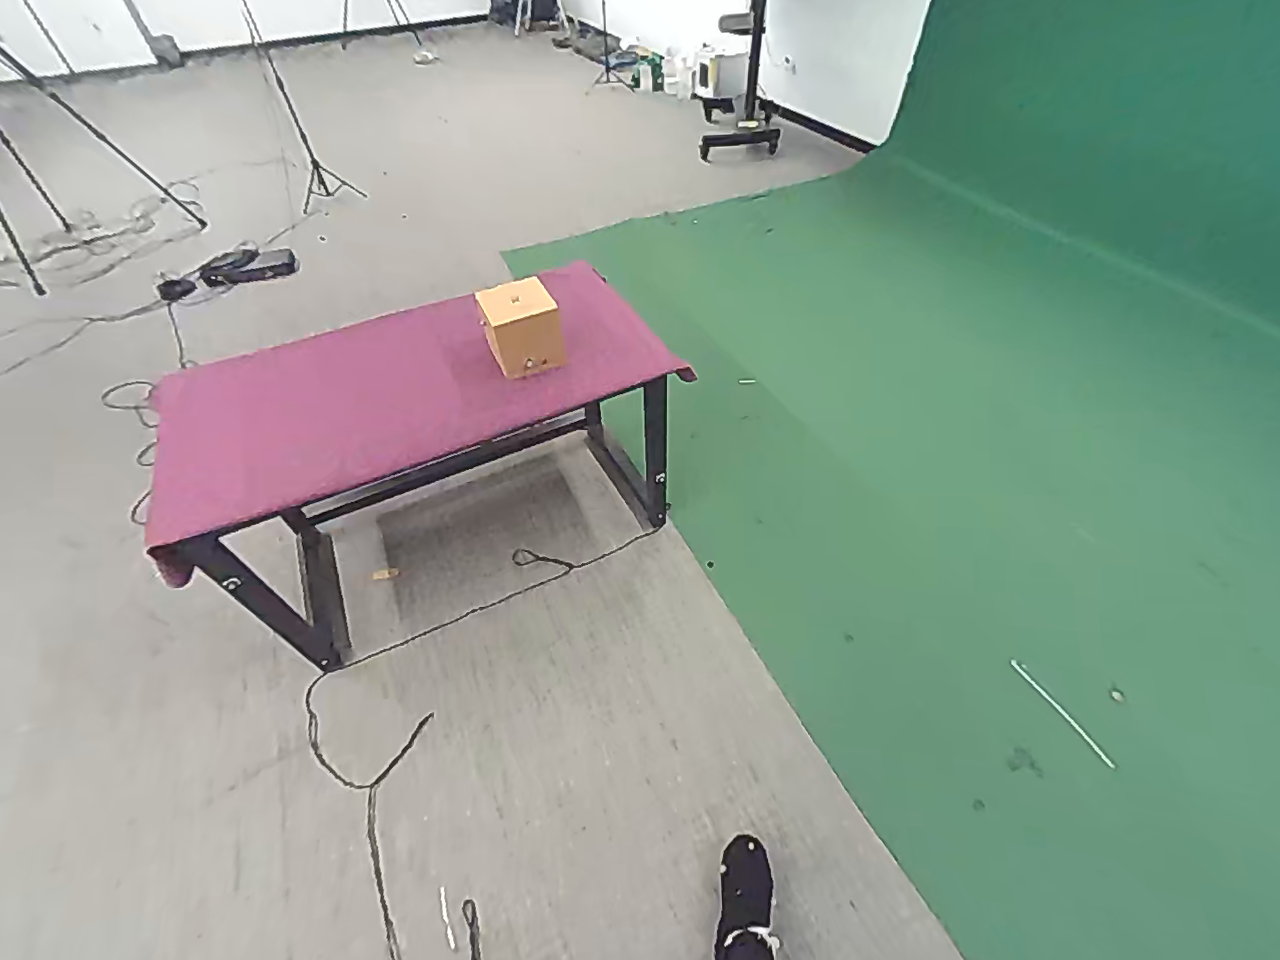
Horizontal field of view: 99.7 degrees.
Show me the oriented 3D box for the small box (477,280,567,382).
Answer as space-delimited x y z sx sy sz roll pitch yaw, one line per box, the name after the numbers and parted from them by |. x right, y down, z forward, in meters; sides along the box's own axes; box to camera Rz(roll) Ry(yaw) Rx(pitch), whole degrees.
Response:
-0.300 -0.379 1.383 0.168 0.176 0.179 -21 51 -14 | small box
